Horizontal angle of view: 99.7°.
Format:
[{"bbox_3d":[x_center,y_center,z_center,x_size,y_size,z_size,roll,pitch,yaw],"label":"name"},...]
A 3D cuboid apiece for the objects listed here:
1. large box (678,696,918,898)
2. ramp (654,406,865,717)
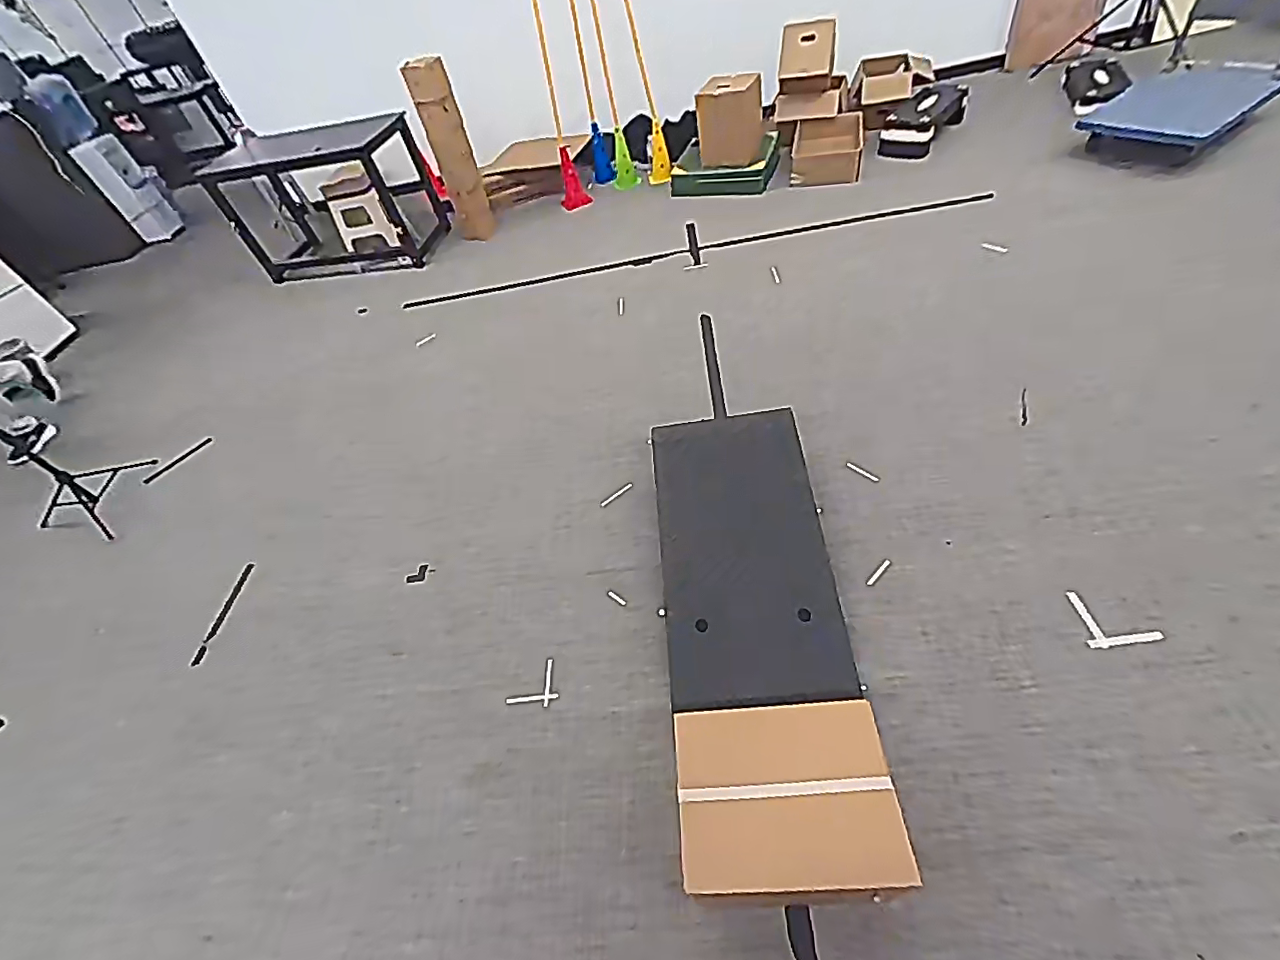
[{"bbox_3d":[0.308,0.685,1.155,0.408,0.320,0.320,-8,48,7],"label":"large box"},{"bbox_3d":[0.315,0.205,1.637,0.509,0.206,0.991,-8,49,5],"label":"ramp"}]
